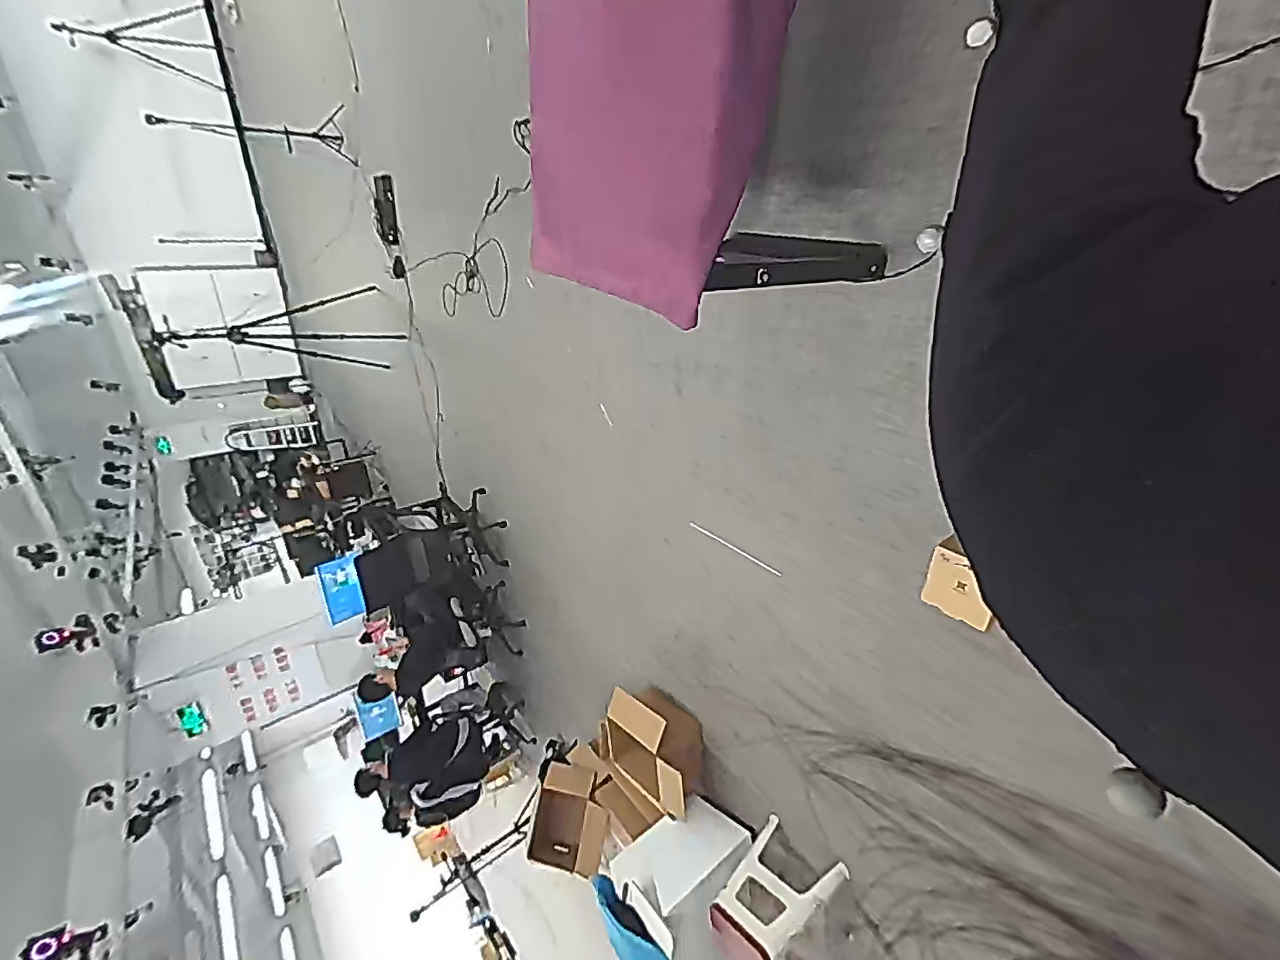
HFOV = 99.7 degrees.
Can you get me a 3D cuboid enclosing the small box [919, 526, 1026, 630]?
[{"bbox_3d":[0.861,0.247,1.402,0.168,0.176,0.179,29,127,43],"label":"small box"}]
